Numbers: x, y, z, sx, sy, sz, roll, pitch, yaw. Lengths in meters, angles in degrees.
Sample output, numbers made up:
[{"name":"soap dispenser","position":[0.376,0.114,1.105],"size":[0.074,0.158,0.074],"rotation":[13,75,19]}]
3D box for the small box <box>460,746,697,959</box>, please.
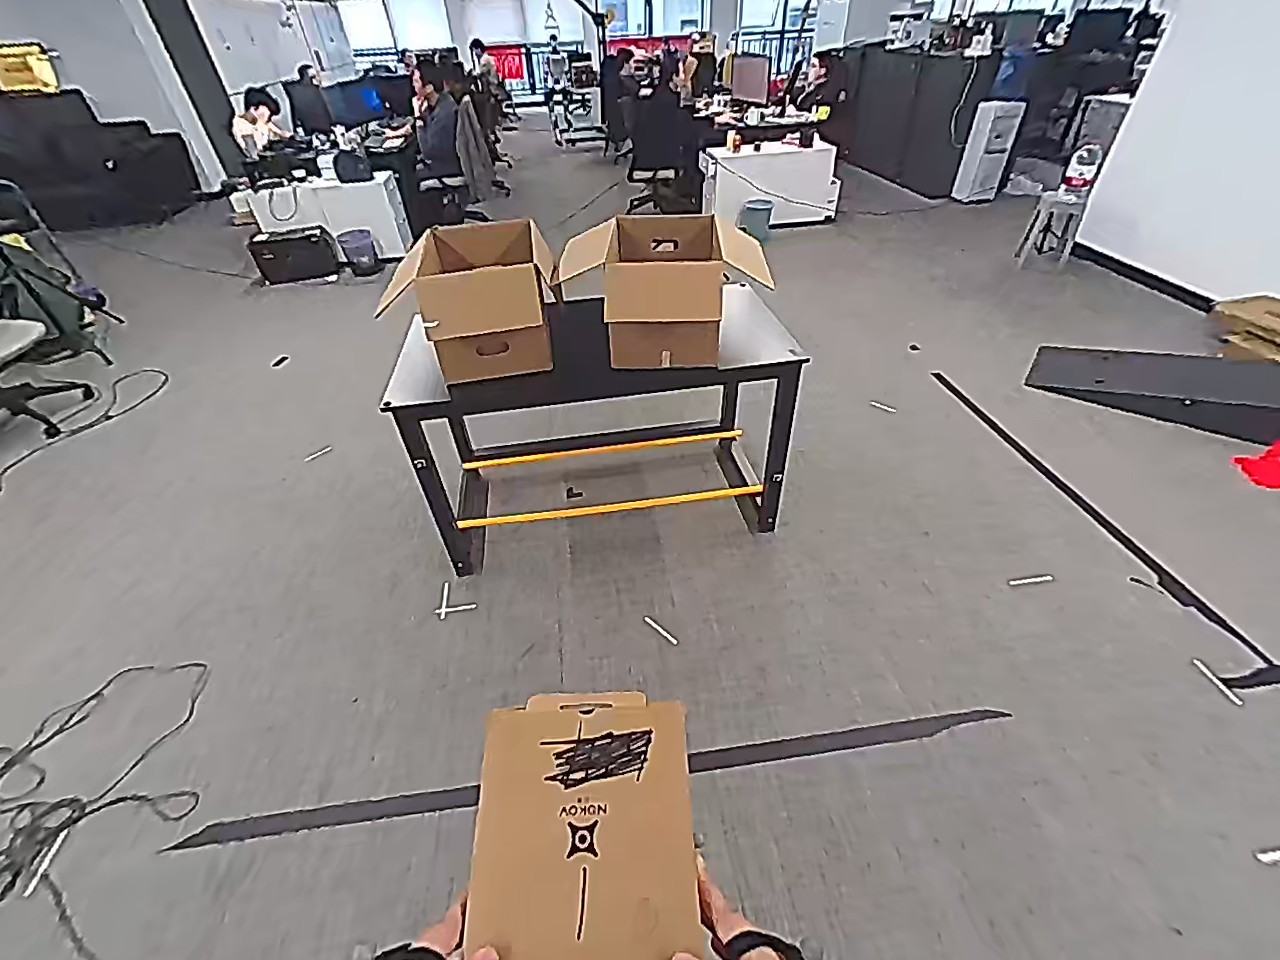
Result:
[{"name":"small box","position":[-0.044,0.342,0.461],"size":[0.168,0.176,0.179],"rotation":[-2,53,-1]}]
